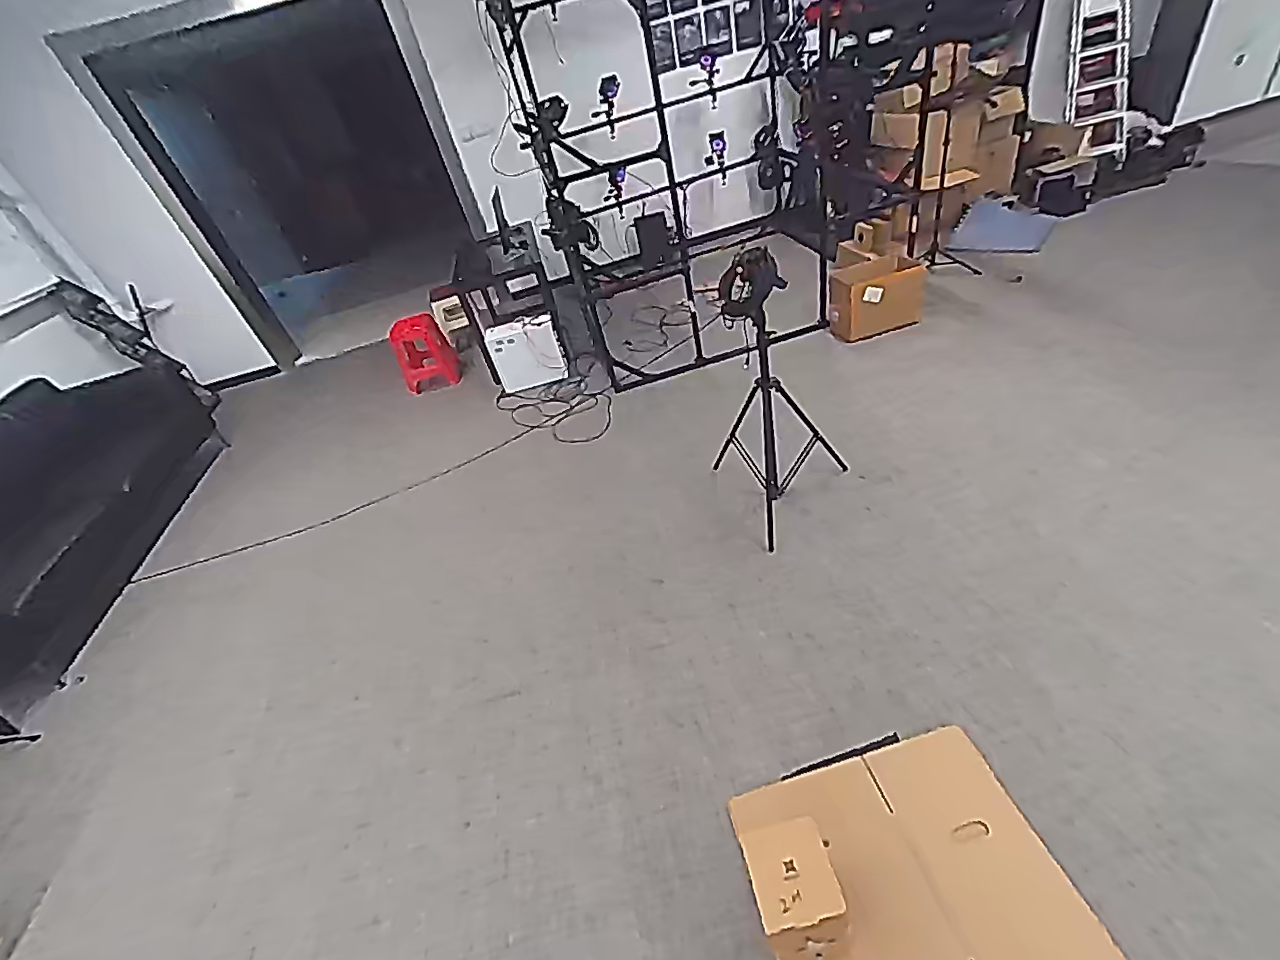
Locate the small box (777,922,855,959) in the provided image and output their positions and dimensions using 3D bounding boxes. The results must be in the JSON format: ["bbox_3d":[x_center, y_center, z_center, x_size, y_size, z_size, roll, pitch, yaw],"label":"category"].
[{"bbox_3d":[0.371,0.971,1.226,0.168,0.176,0.179,-16,39,0],"label":"small box"}]

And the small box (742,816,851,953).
[{"bbox_3d":[0.322,0.845,1.130,0.168,0.176,0.179,-16,38,1],"label":"small box"}]
